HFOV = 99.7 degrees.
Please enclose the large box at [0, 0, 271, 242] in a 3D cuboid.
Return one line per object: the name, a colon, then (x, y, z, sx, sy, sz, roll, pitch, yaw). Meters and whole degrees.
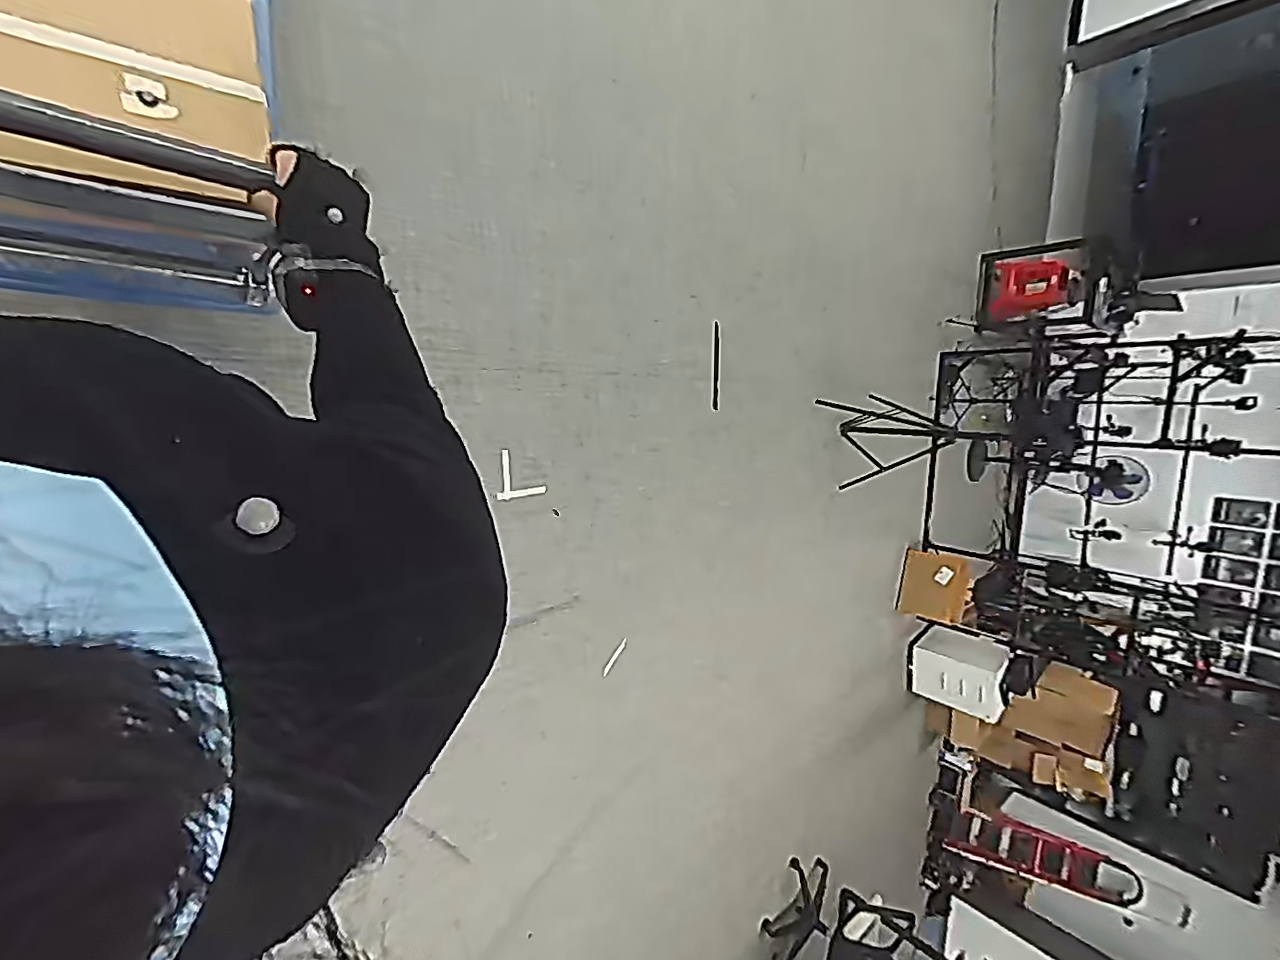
large box: (-0.827, -0.567, 0.790, 0.408, 0.320, 0.320, -10, 104, -43)
